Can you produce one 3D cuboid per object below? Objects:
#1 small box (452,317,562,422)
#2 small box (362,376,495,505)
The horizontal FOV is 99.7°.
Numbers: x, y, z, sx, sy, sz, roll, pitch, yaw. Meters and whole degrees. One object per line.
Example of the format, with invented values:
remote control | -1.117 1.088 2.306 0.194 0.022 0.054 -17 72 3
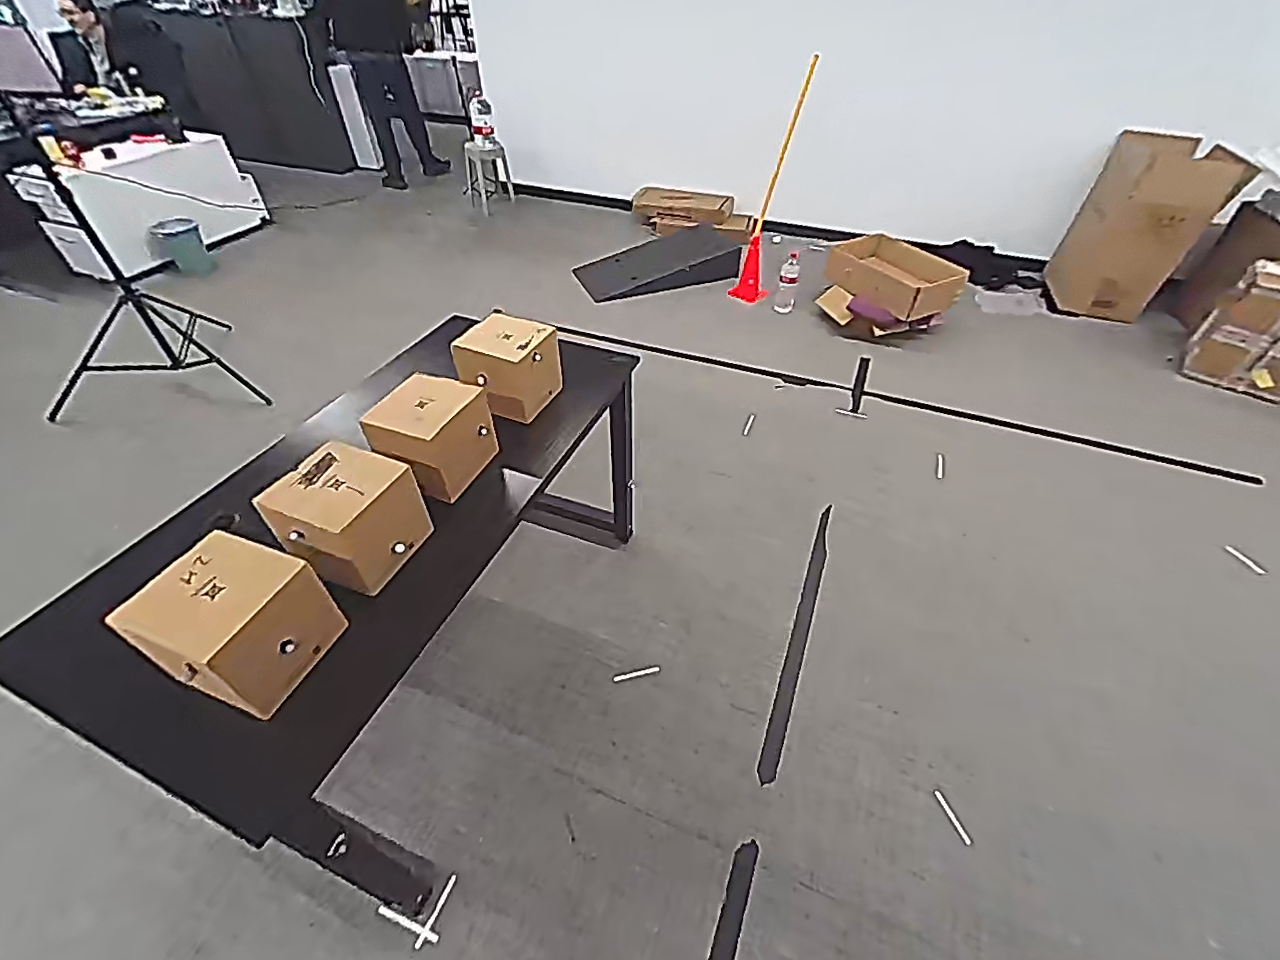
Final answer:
small box | -0.302 -0.256 1.265 0.179 0.176 0.168 16 47 17
small box | -0.410 -0.080 1.087 0.168 0.176 0.179 14 47 16
